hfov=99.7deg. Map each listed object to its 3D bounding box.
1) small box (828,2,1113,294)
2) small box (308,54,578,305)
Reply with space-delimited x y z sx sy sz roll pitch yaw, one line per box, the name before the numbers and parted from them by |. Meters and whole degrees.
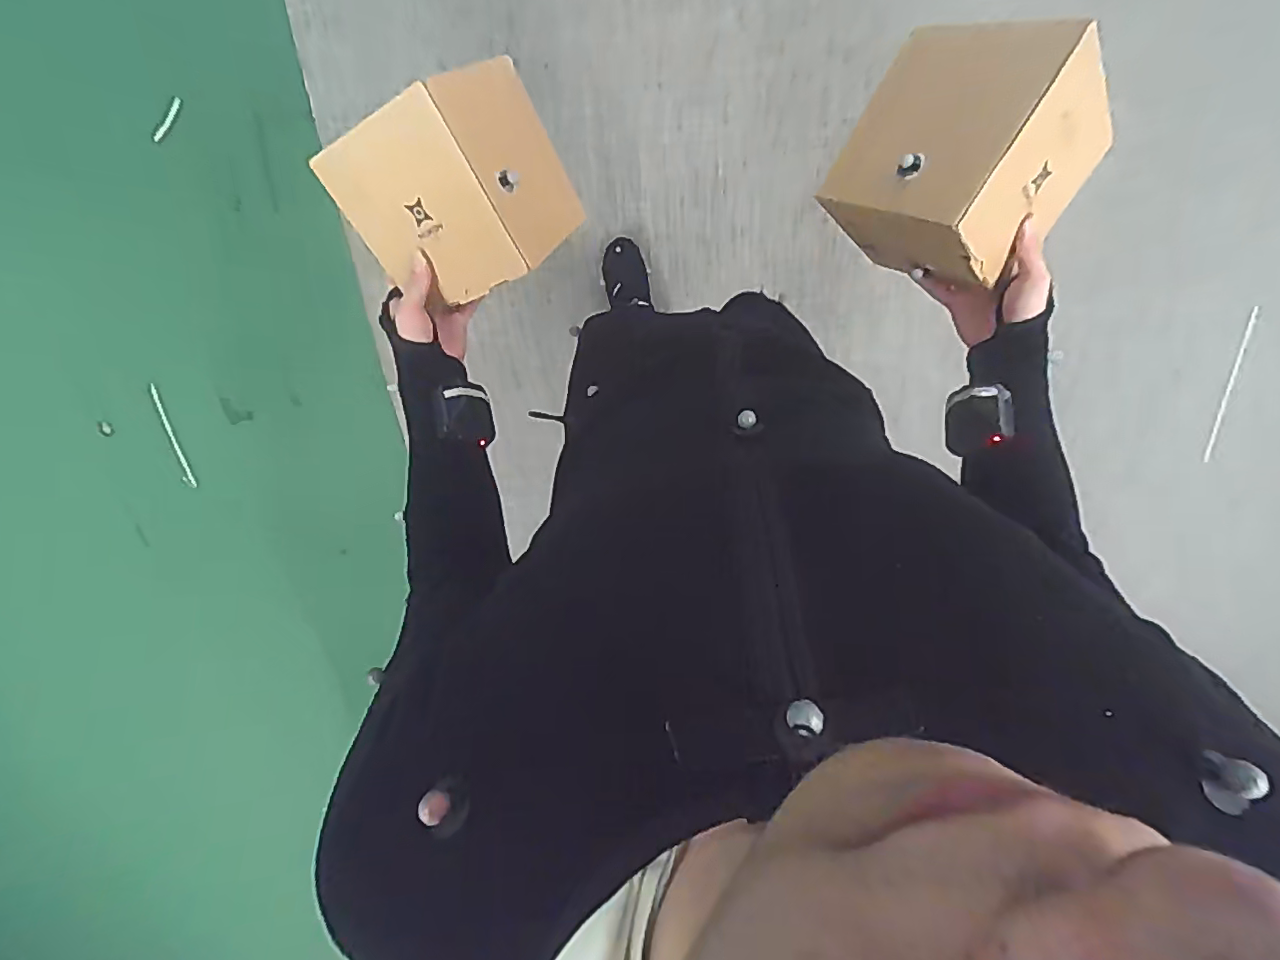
small box | 0.320 -0.325 0.549 0.168 0.176 0.179 15 111 -44
small box | -0.196 -0.325 0.586 0.168 0.176 0.179 -9 129 29
